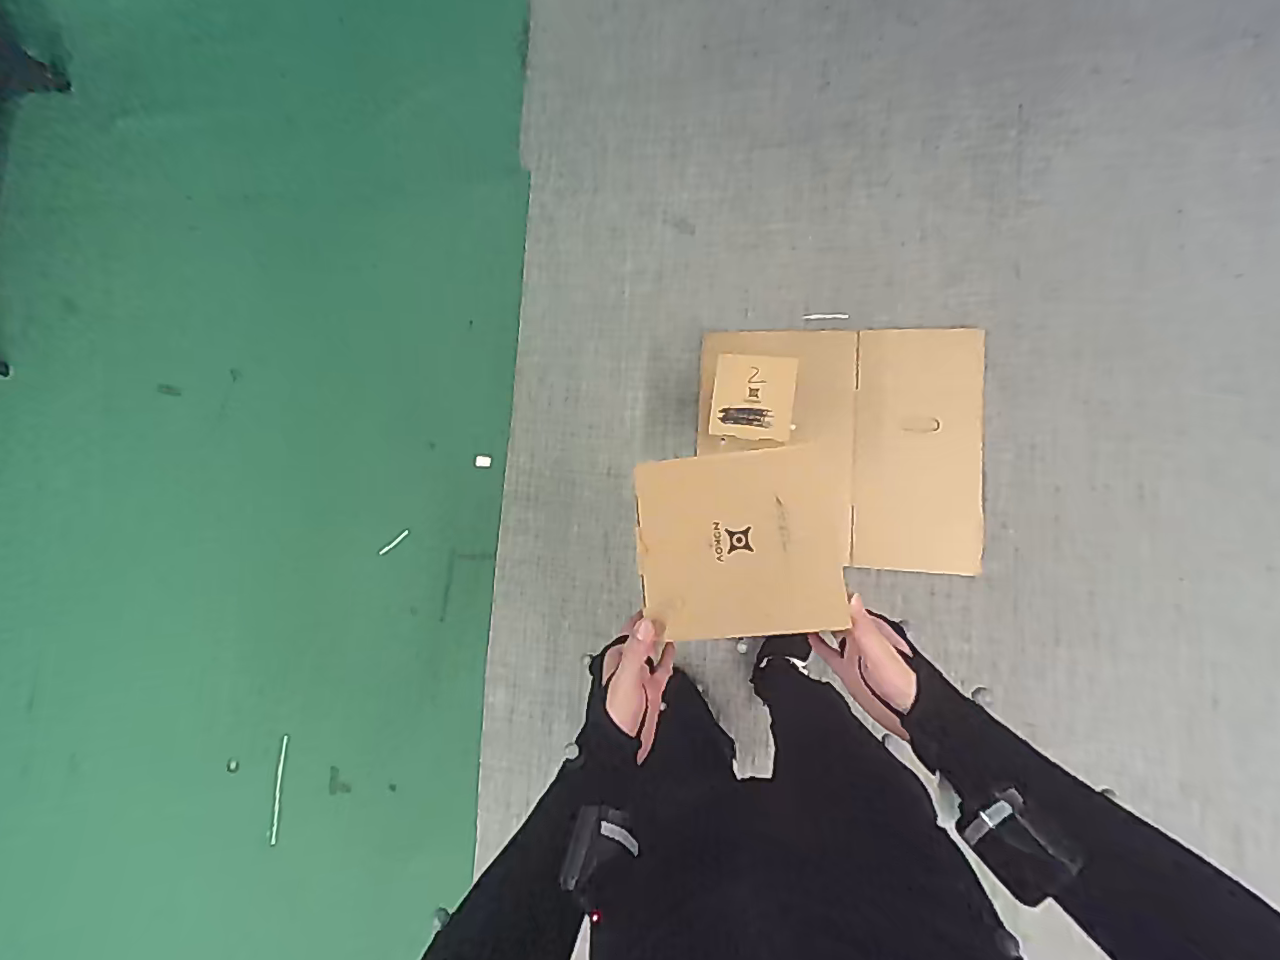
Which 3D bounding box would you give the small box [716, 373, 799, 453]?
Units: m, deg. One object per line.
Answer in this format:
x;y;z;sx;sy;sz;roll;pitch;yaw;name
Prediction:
0.292;-0.158;1.350;0.179;0.176;0.168;7;87;13;small box

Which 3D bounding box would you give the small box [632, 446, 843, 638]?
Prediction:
0.095;0.076;0.561;0.179;0.176;0.168;-6;75;8;small box
